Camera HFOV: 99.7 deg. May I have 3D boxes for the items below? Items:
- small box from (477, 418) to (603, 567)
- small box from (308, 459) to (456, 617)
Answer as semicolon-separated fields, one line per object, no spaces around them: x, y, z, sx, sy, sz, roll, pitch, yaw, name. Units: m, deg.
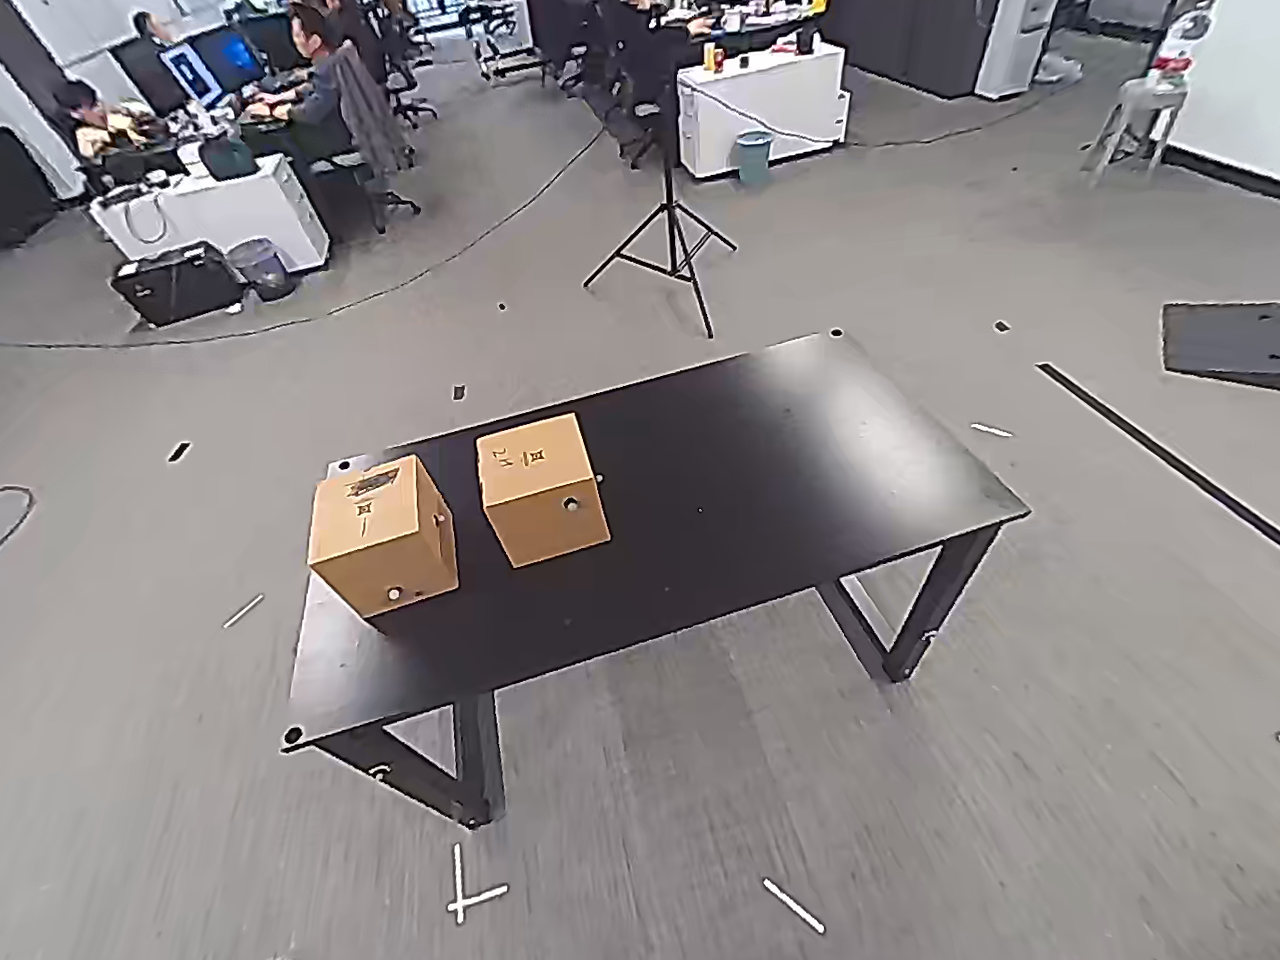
-0.168;0.024;0.940;0.179;0.176;0.168;-16;47;-5;small box
-0.423;0.099;0.912;0.168;0.176;0.179;-18;49;-7;small box
